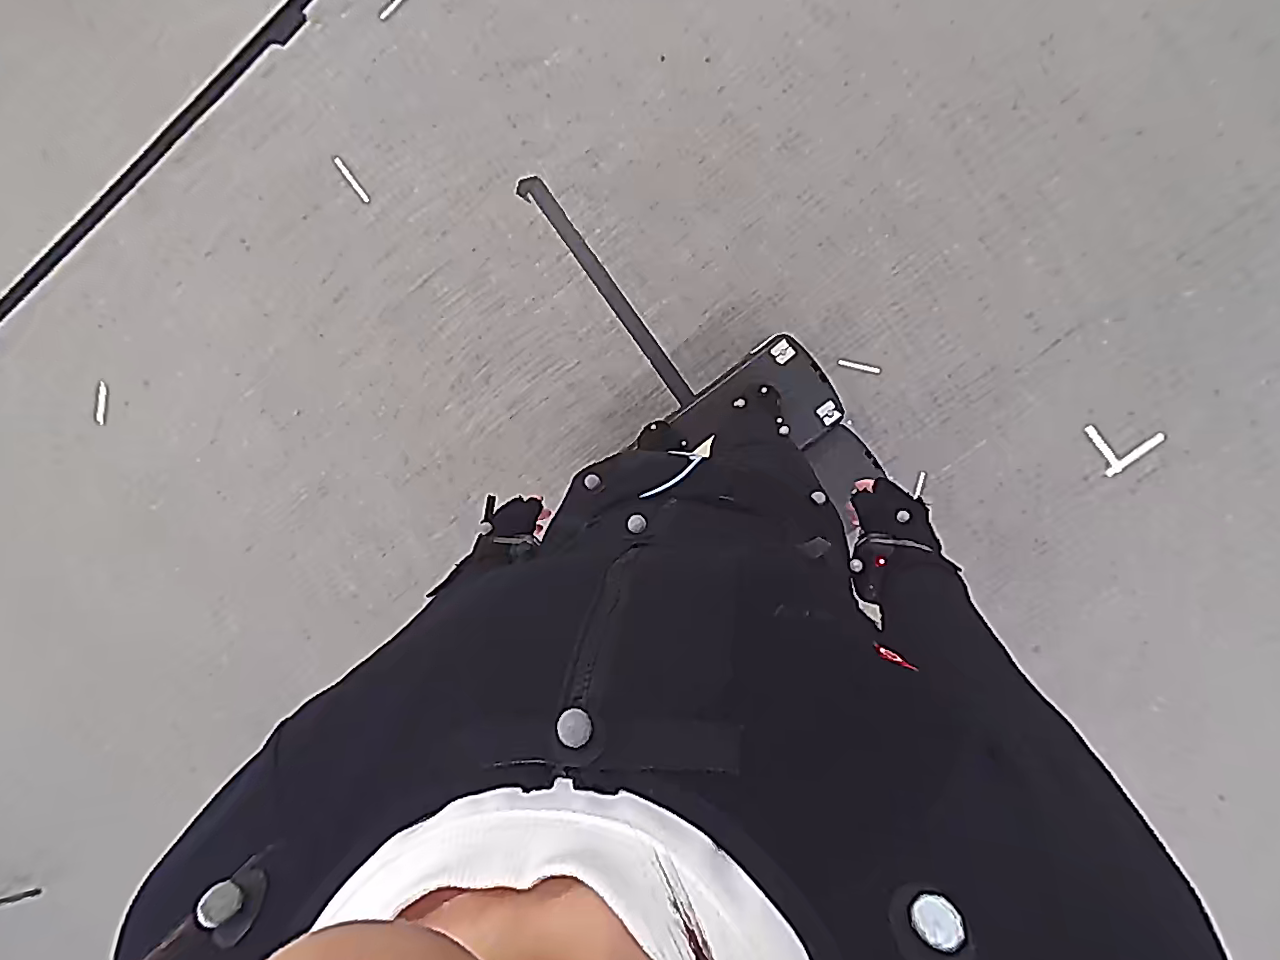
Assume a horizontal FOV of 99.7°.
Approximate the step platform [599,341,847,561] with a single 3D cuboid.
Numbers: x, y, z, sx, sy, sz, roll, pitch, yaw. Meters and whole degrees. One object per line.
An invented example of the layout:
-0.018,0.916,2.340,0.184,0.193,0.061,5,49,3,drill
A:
0.216,-0.076,1.499,0.684,0.204,0.286,-38,94,7,step platform
